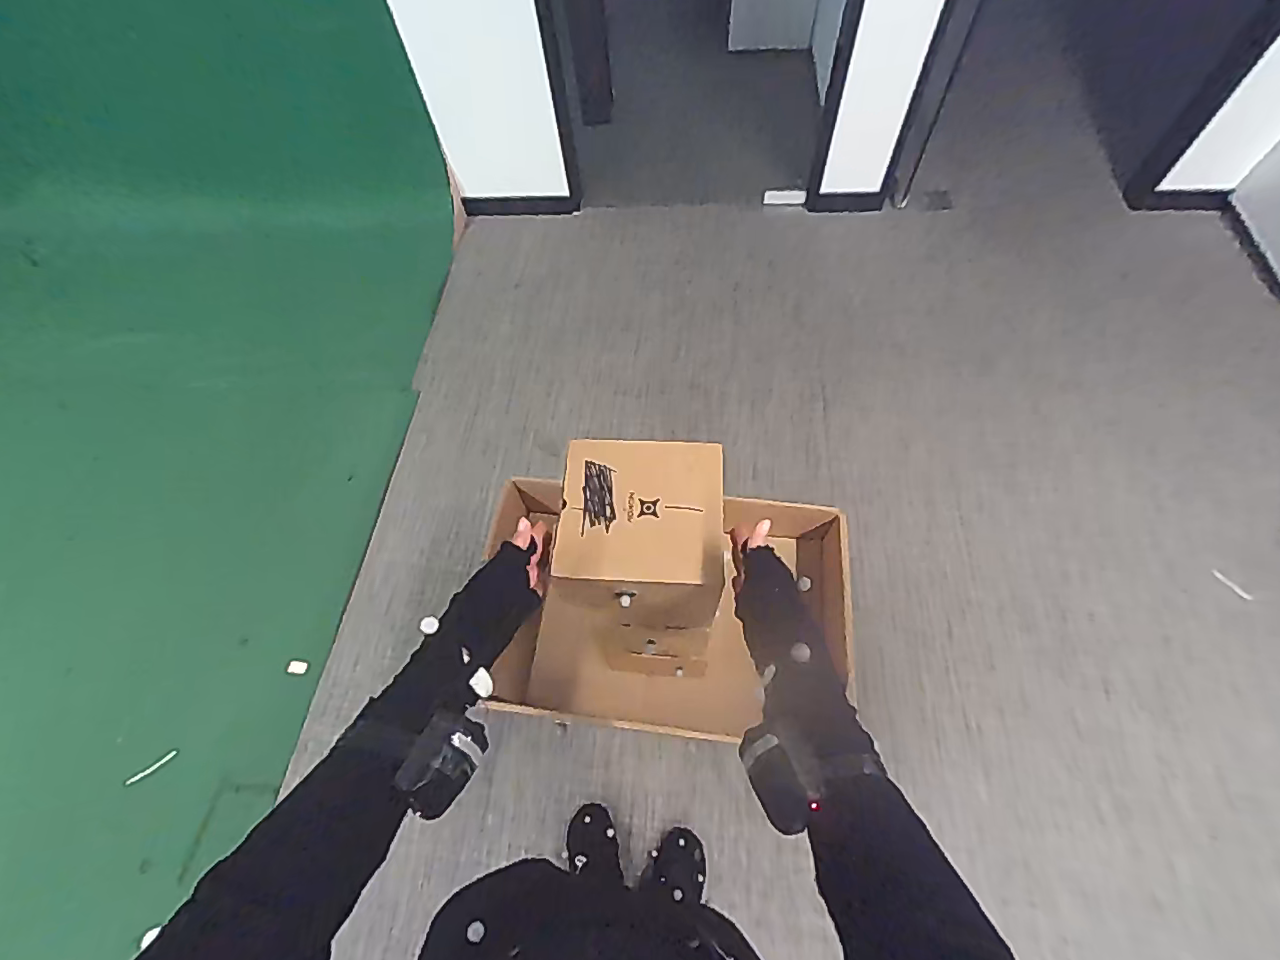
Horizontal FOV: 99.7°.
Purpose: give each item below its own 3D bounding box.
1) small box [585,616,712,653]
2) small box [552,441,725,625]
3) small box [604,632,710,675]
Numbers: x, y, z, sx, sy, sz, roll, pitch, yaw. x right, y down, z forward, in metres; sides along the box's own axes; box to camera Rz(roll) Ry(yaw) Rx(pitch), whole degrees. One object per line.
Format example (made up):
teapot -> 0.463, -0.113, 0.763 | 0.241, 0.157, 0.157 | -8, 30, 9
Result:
small box -> 0.023, 0.147, 0.789 | 0.168, 0.176, 0.179 | 4, 62, 5
small box -> 0.007, 0.069, 0.644 | 0.179, 0.176, 0.168 | 3, 61, 4
small box -> 0.038, 0.229, 0.930 | 0.168, 0.176, 0.179 | 4, 60, 5
